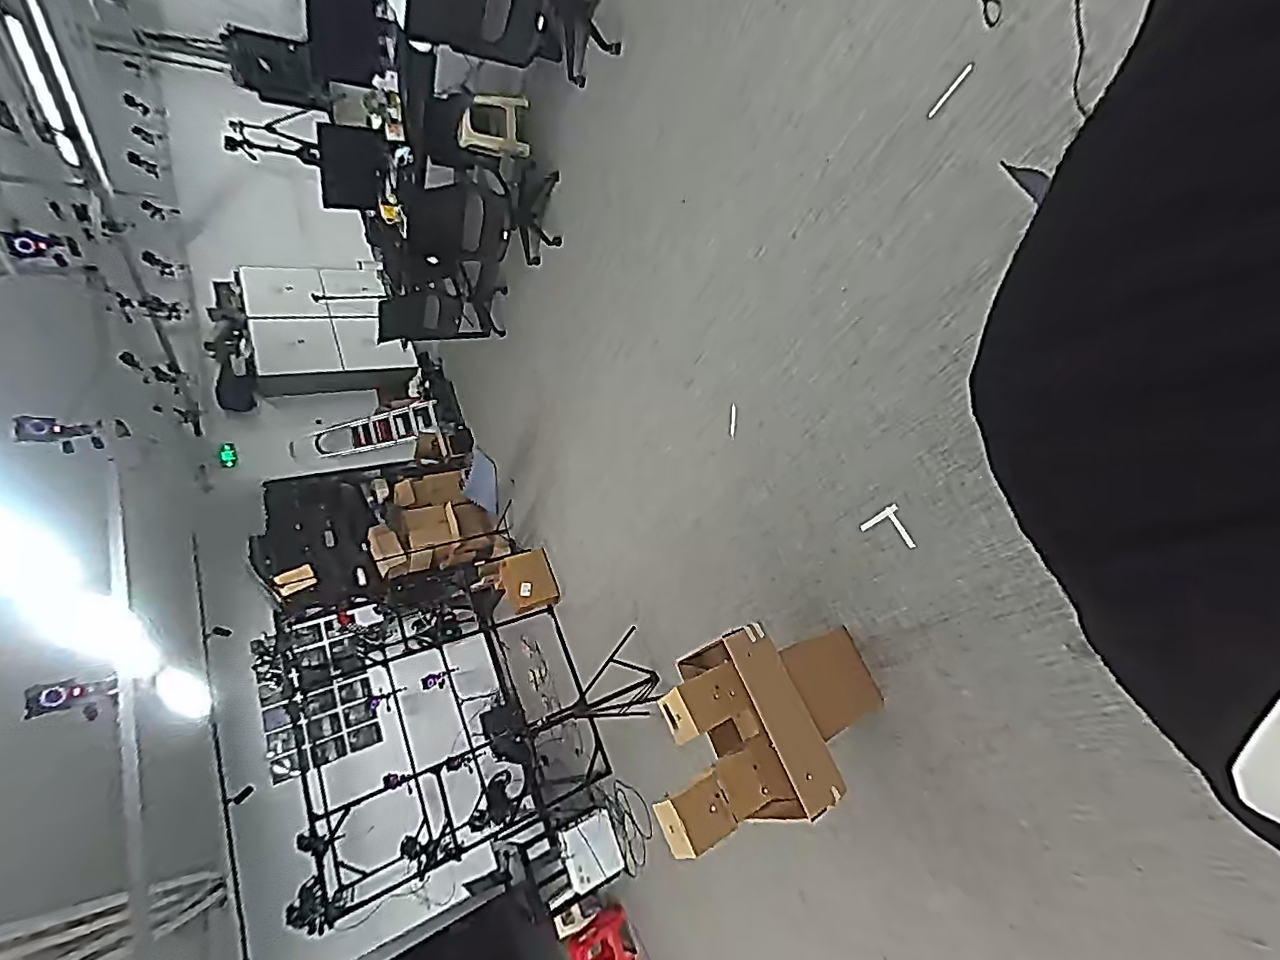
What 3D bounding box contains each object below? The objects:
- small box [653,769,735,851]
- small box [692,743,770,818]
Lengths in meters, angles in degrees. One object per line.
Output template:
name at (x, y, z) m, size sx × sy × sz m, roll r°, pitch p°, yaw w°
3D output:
small box at (0.173, 1.051, 1.722) m, size 0.168 × 0.176 × 0.179 m, roll 61°, pitch 147°, yaw 23°
small box at (0.308, 1.003, 1.806) m, size 0.168 × 0.176 × 0.179 m, roll 62°, pitch 147°, yaw 22°
